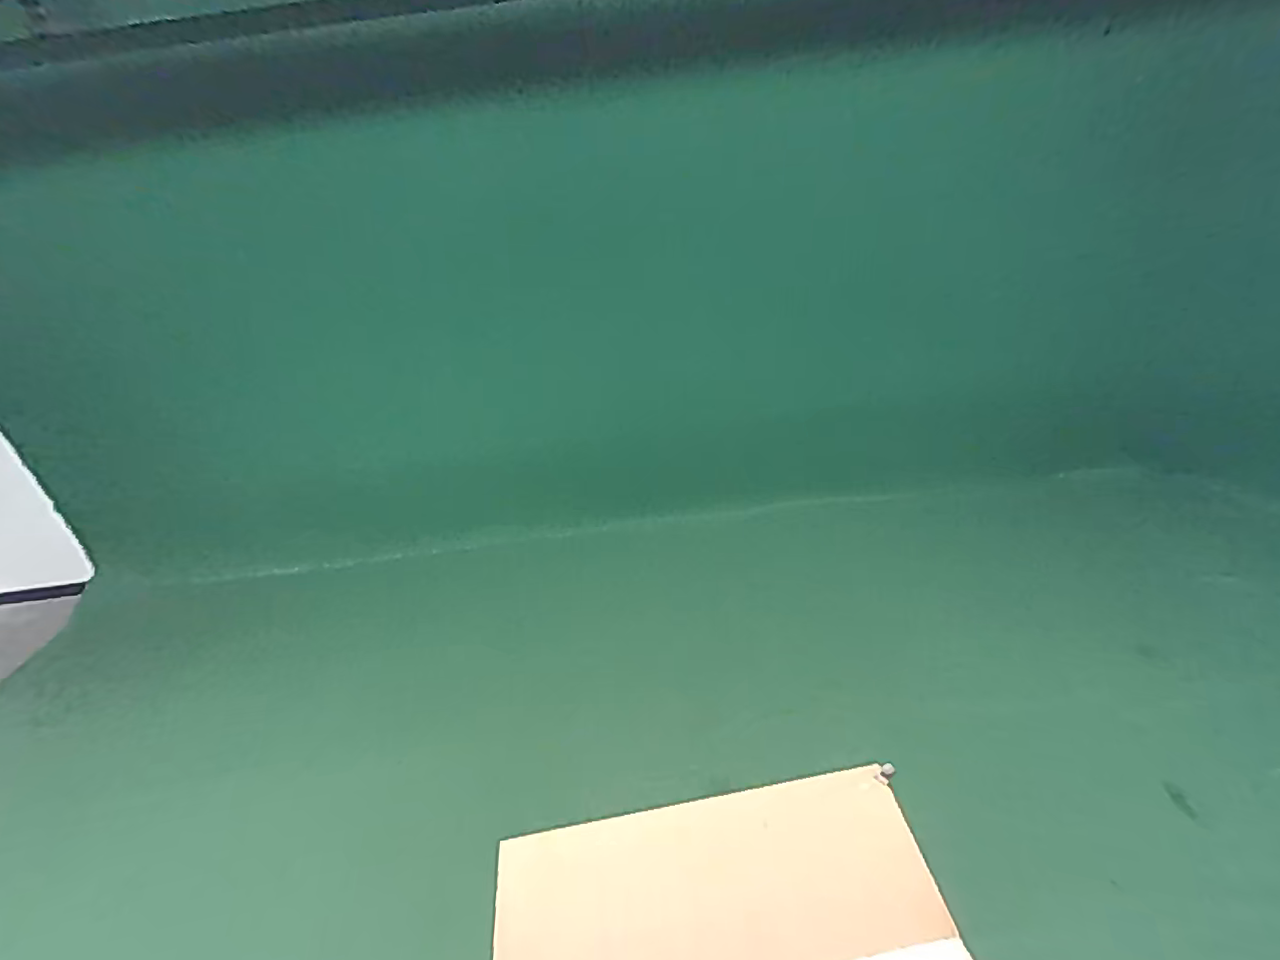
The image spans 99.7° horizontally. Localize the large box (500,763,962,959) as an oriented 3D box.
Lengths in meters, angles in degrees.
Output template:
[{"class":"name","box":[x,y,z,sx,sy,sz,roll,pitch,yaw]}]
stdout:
[{"class":"large box","box":[0.090,0.549,0.549,0.408,0.320,0.320,-9,40,-4]}]
